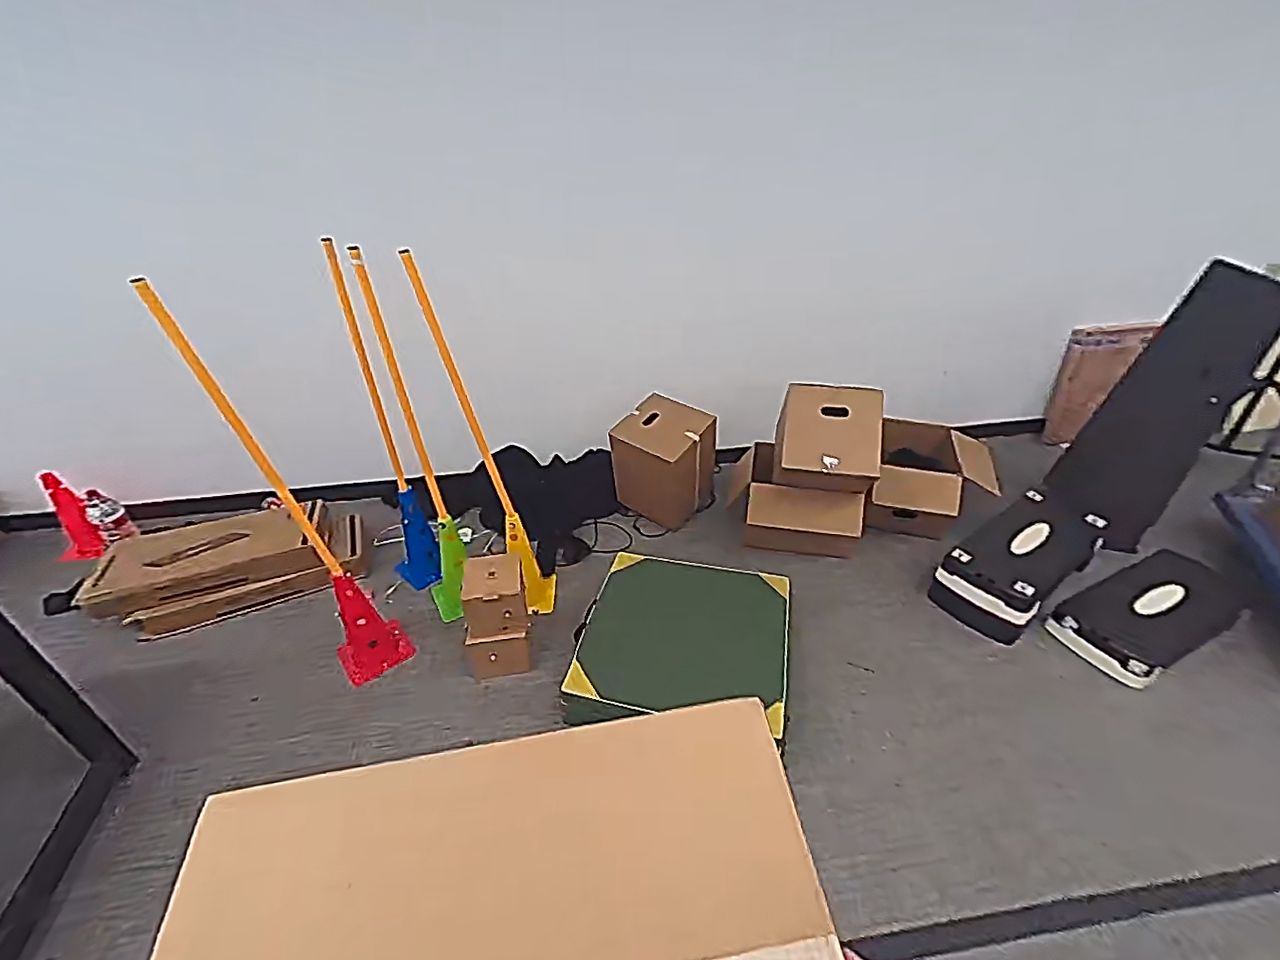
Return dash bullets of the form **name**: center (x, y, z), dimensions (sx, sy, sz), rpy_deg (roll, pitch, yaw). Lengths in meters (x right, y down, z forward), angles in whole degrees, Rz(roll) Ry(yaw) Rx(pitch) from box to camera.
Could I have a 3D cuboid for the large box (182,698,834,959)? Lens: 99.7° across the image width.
- **large box**: center (-0.074, 0.413, 0.417), dimensions (0.408, 0.320, 0.320), rpy_deg (-8, 48, -4)
